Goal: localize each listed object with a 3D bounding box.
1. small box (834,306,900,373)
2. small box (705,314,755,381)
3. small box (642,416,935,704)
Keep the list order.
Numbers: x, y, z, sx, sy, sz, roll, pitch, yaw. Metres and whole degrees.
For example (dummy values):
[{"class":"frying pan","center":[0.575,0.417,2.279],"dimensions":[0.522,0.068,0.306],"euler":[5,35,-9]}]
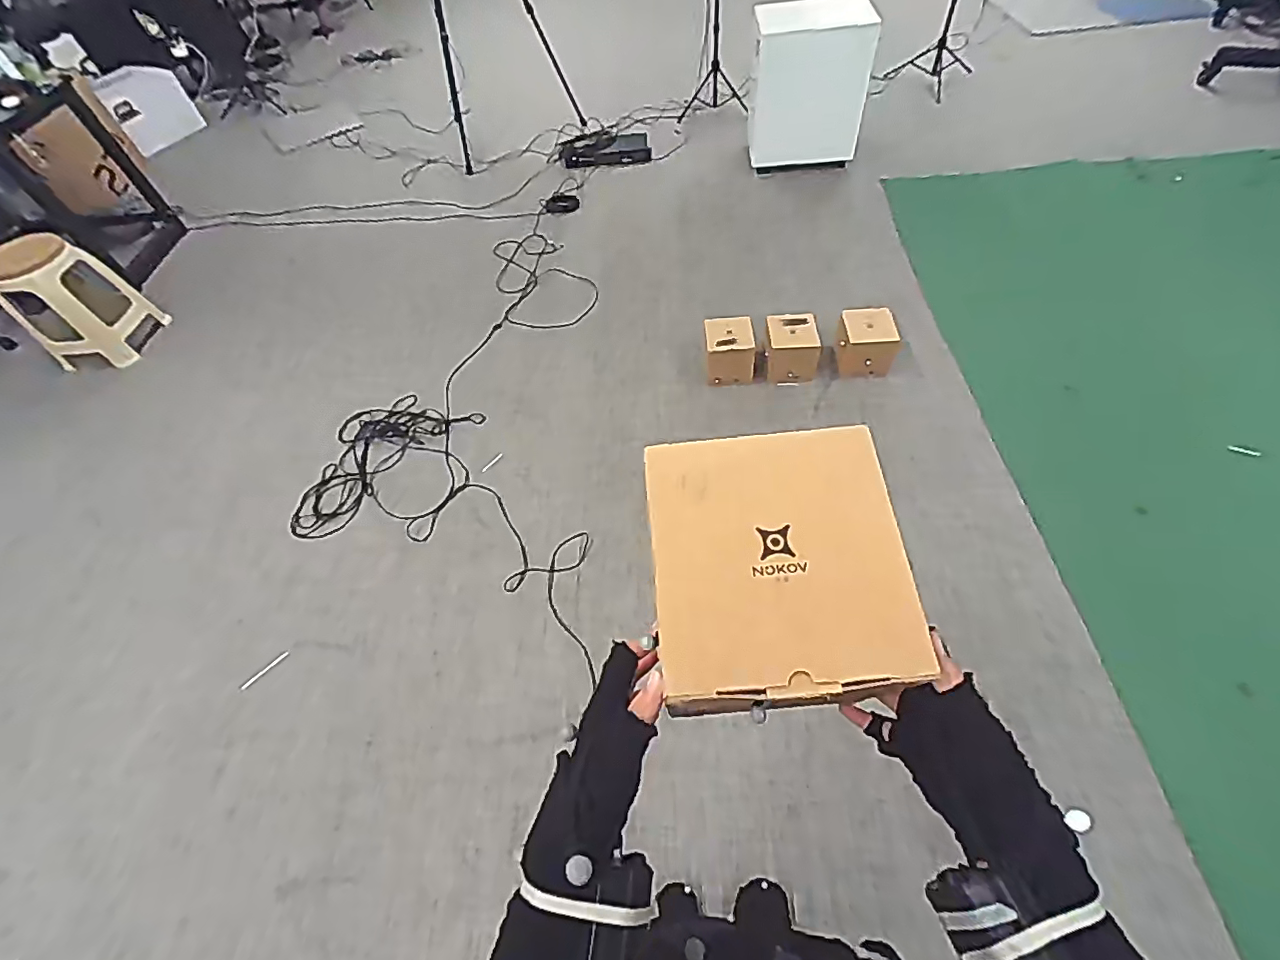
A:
[{"class":"small box","center":[0.806,-0.496,1.936],"dimensions":[0.168,0.176,0.179],"euler":[-2,55,5]},{"class":"small box","center":[0.327,-0.477,1.976],"dimensions":[0.168,0.176,0.179],"euler":[-3,54,5]},{"class":"small box","center":[0.091,0.073,0.427],"dimensions":[0.168,0.176,0.179],"euler":[-6,64,2]}]
